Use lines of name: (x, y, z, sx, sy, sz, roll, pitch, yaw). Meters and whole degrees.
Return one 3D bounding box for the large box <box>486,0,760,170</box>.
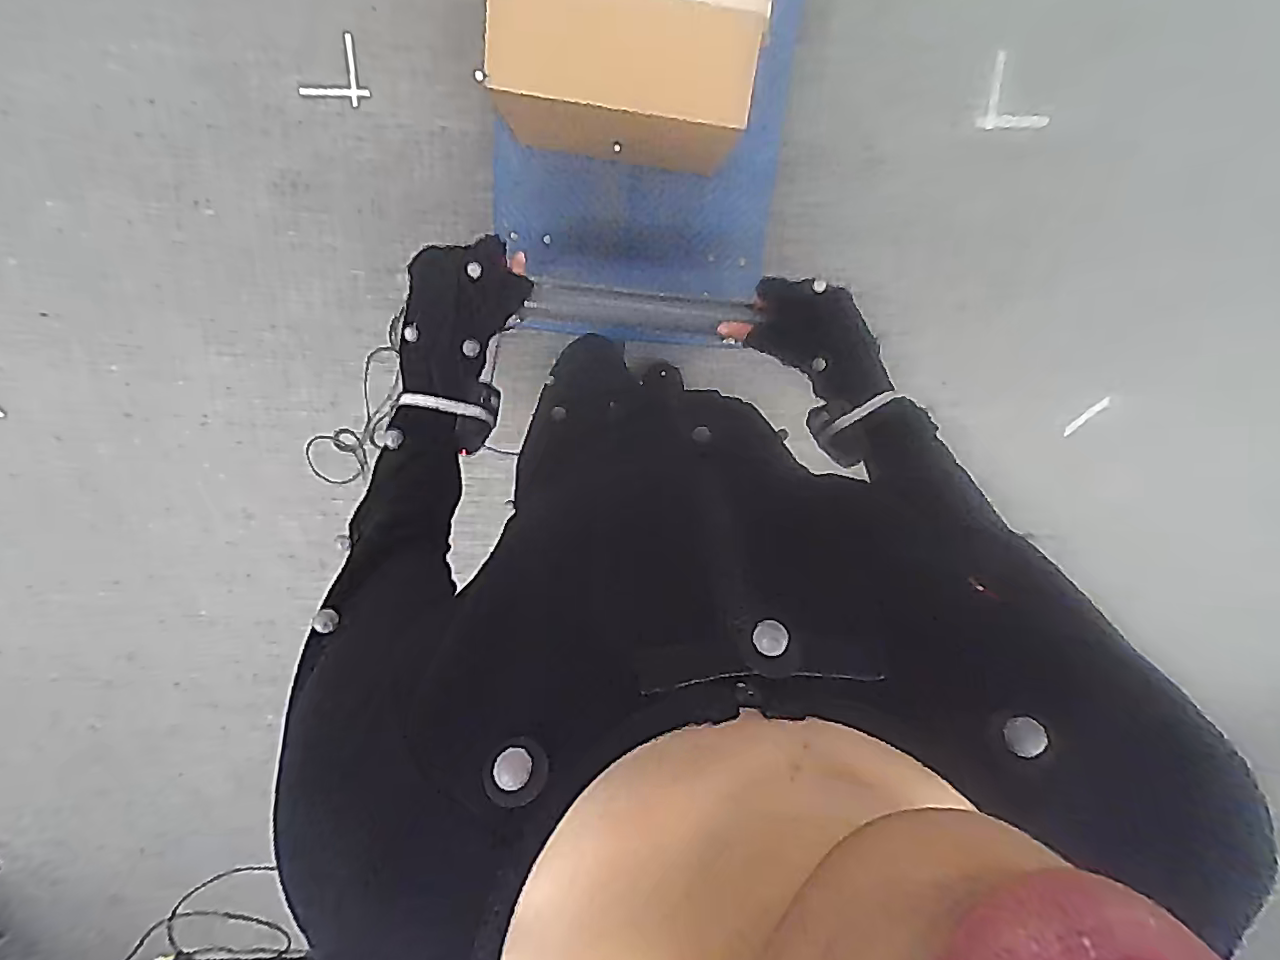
large box: (-0.022, -0.757, 0.929, 0.408, 0.320, 0.320, 7, 107, -3)
